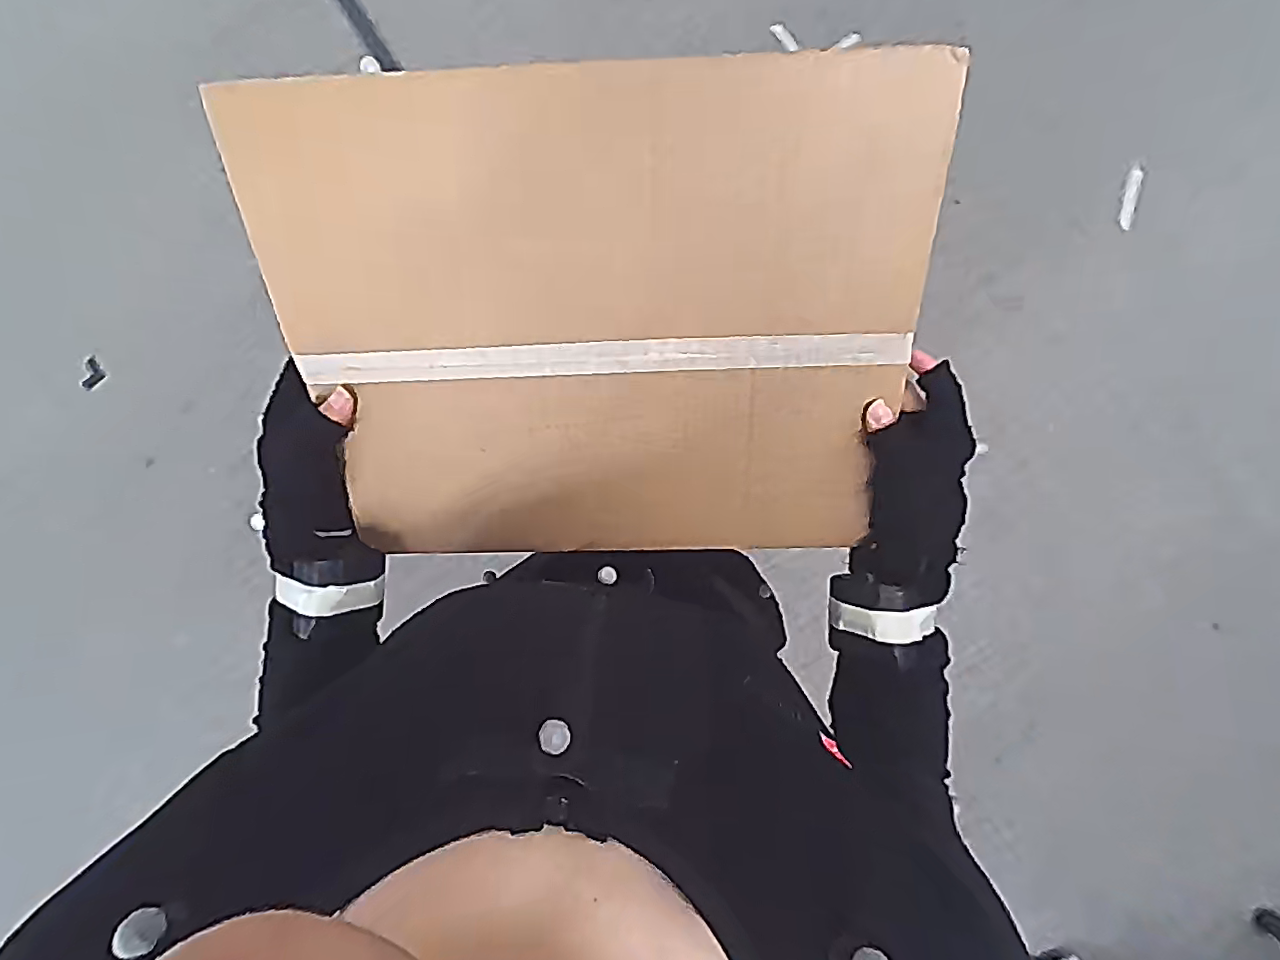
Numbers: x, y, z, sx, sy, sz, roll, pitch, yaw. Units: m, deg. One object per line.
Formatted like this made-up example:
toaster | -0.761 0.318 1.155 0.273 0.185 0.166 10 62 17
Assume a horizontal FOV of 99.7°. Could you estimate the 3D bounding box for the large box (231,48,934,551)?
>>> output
large box | -0.028 -0.156 0.499 0.408 0.320 0.320 -2 120 3
